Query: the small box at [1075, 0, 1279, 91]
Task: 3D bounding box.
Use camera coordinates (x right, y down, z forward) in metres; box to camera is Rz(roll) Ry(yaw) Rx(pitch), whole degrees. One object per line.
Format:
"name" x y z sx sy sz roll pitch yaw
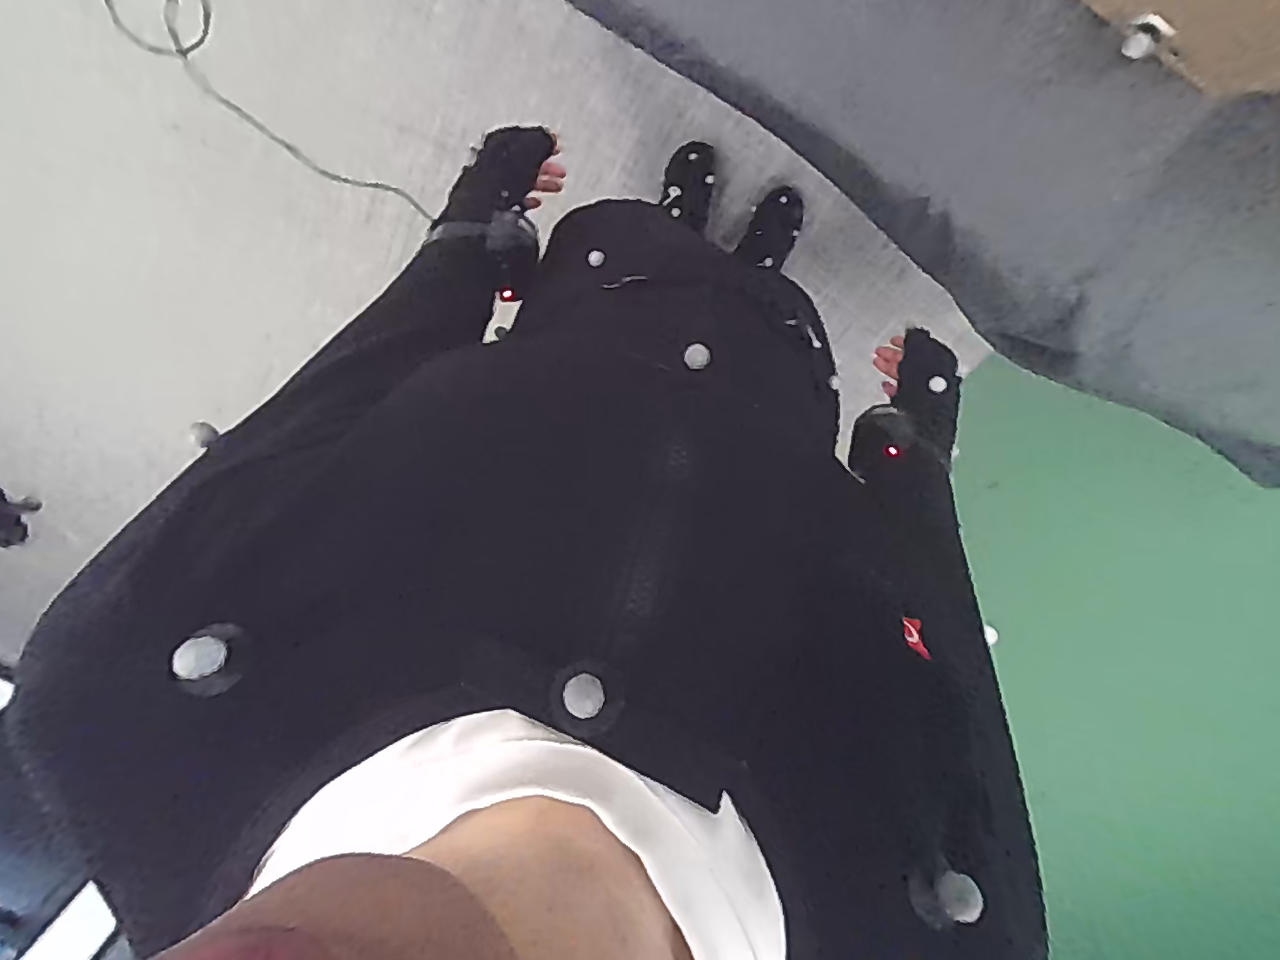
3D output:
"small box" 0.435 -0.380 0.334 0.168 0.176 0.179 29 124 -5
